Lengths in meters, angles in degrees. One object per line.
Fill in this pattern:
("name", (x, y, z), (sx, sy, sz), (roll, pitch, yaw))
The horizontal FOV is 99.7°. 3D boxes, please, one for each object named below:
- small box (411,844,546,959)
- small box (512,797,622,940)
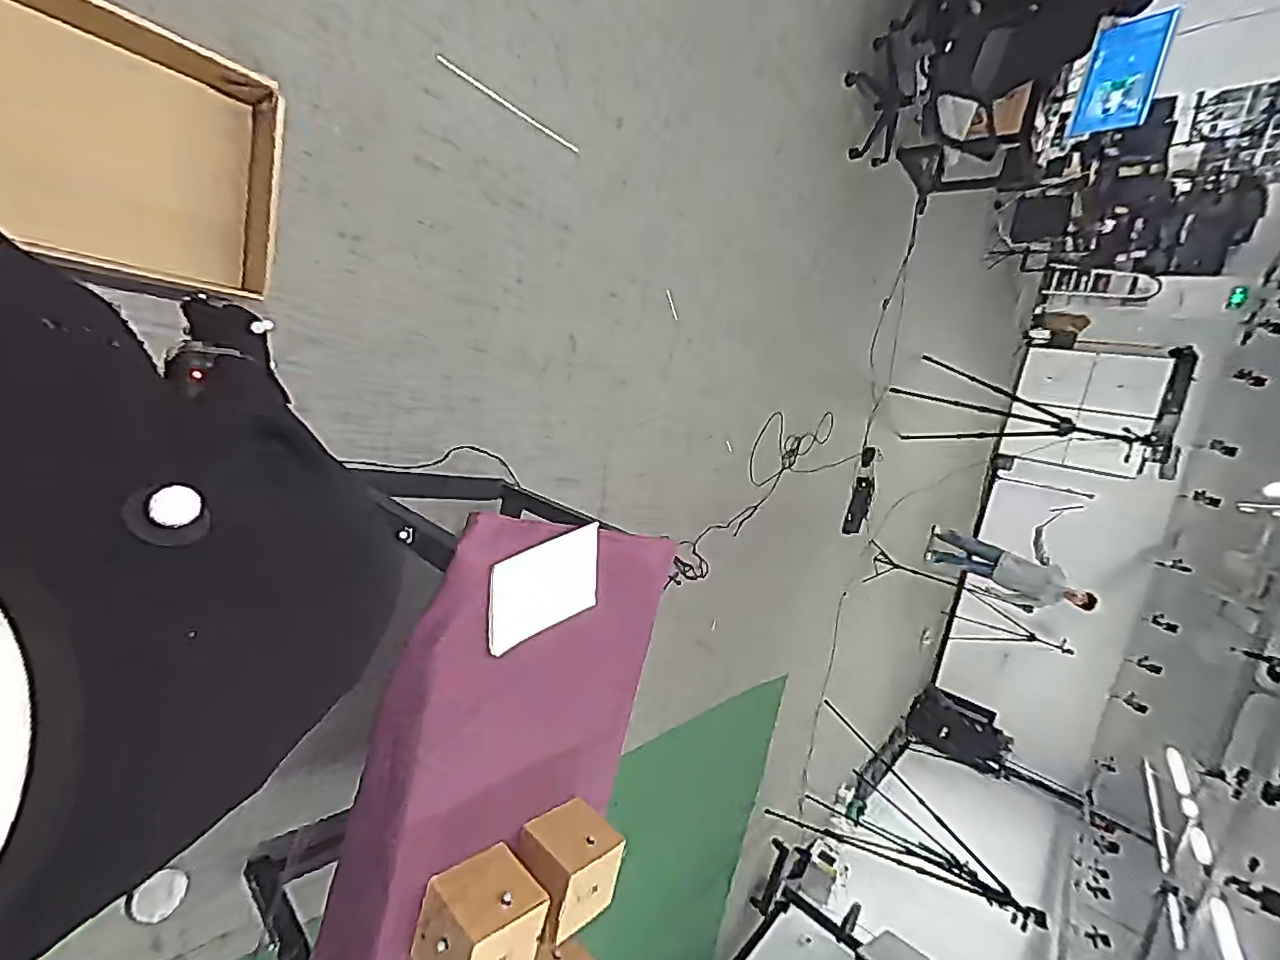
("small box", (-0.319, 0.868, 1.061), (0.179, 0.176, 0.168), (11, 95, -51))
("small box", (-0.173, 0.866, 1.231), (0.179, 0.176, 0.168), (7, 98, -50))
